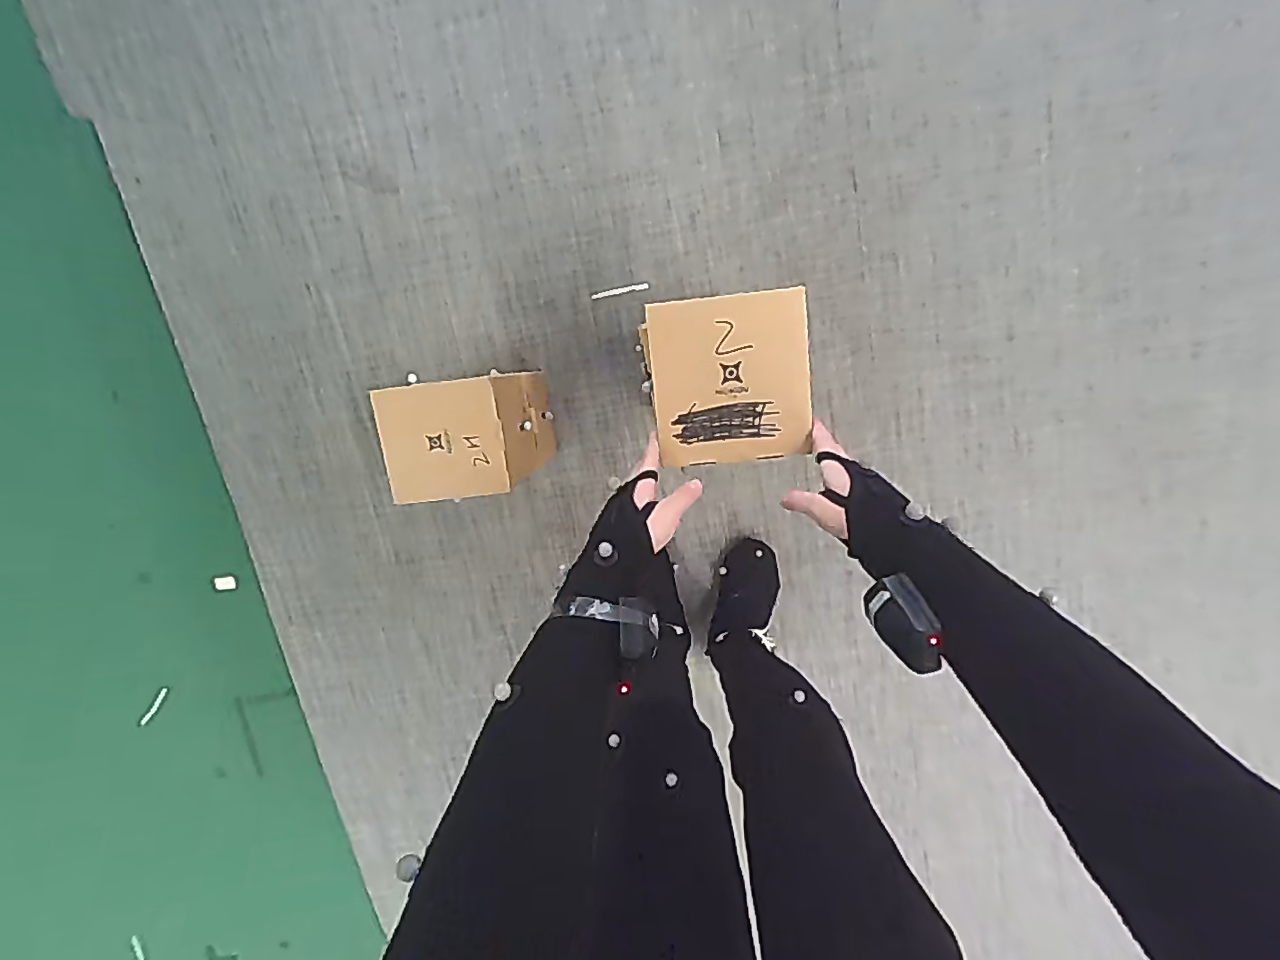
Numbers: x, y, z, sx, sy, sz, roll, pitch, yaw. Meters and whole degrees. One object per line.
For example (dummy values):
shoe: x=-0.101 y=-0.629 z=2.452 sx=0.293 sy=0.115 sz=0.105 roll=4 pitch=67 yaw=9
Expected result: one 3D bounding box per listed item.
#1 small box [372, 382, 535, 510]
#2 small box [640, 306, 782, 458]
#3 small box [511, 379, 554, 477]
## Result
small box: x=-0.274 y=-0.059 z=0.834 sx=0.179 sy=0.176 sz=0.168 roll=-7 pitch=101 yaw=2
small box: x=0.101 y=-0.146 z=0.806 sx=0.168 sy=0.176 sz=0.179 roll=-13 pitch=100 yaw=4
small box: x=-0.262 y=-0.093 z=0.995 sx=0.179 sy=0.176 sz=0.168 roll=-8 pitch=101 yaw=2
